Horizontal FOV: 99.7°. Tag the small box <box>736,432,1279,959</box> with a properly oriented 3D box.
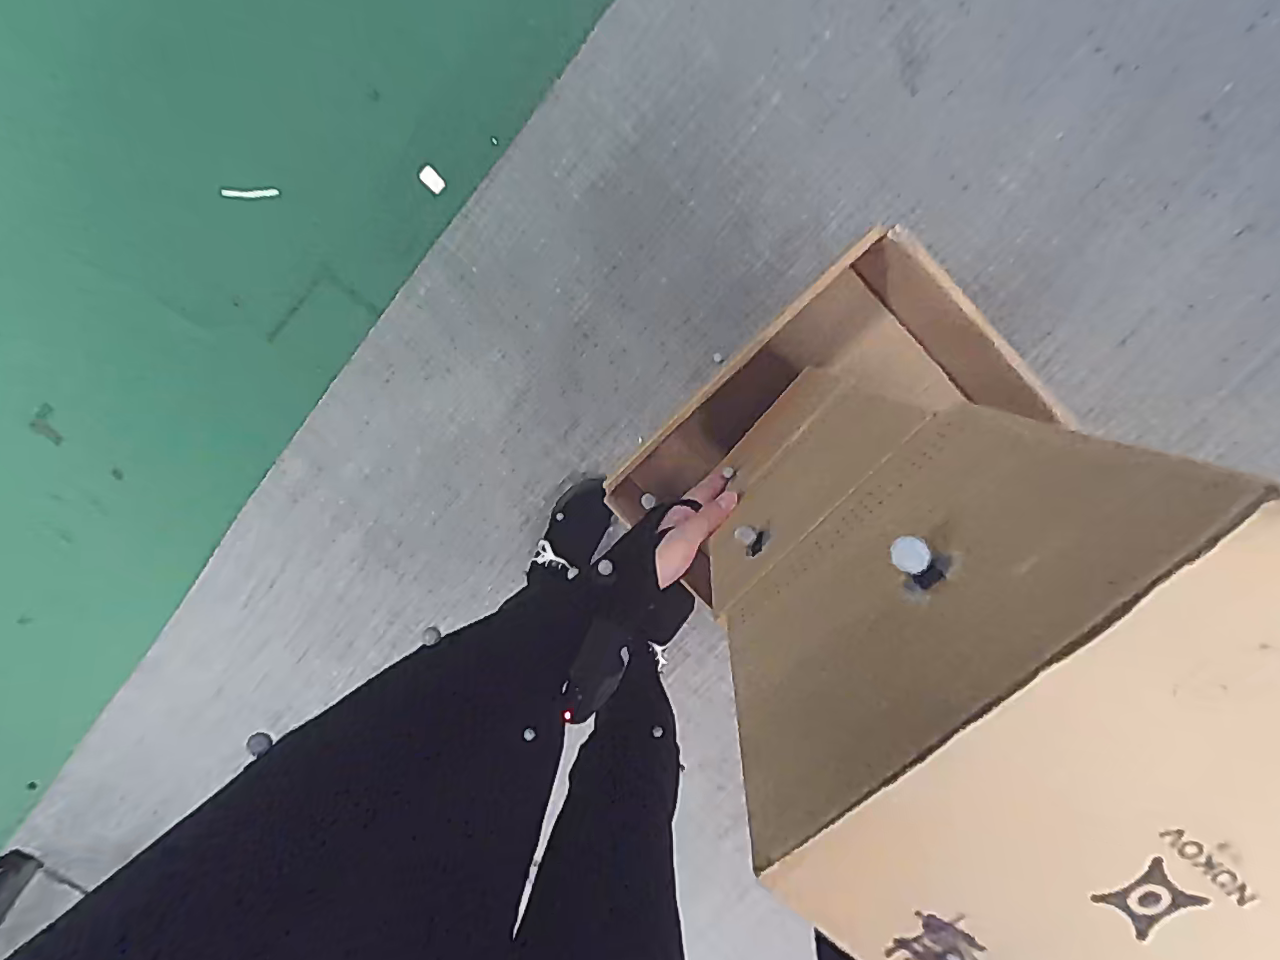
[{"bbox_3d":[0.156,0.100,0.229,0.168,0.176,0.179,41,105,-4],"label":"small box"}]
